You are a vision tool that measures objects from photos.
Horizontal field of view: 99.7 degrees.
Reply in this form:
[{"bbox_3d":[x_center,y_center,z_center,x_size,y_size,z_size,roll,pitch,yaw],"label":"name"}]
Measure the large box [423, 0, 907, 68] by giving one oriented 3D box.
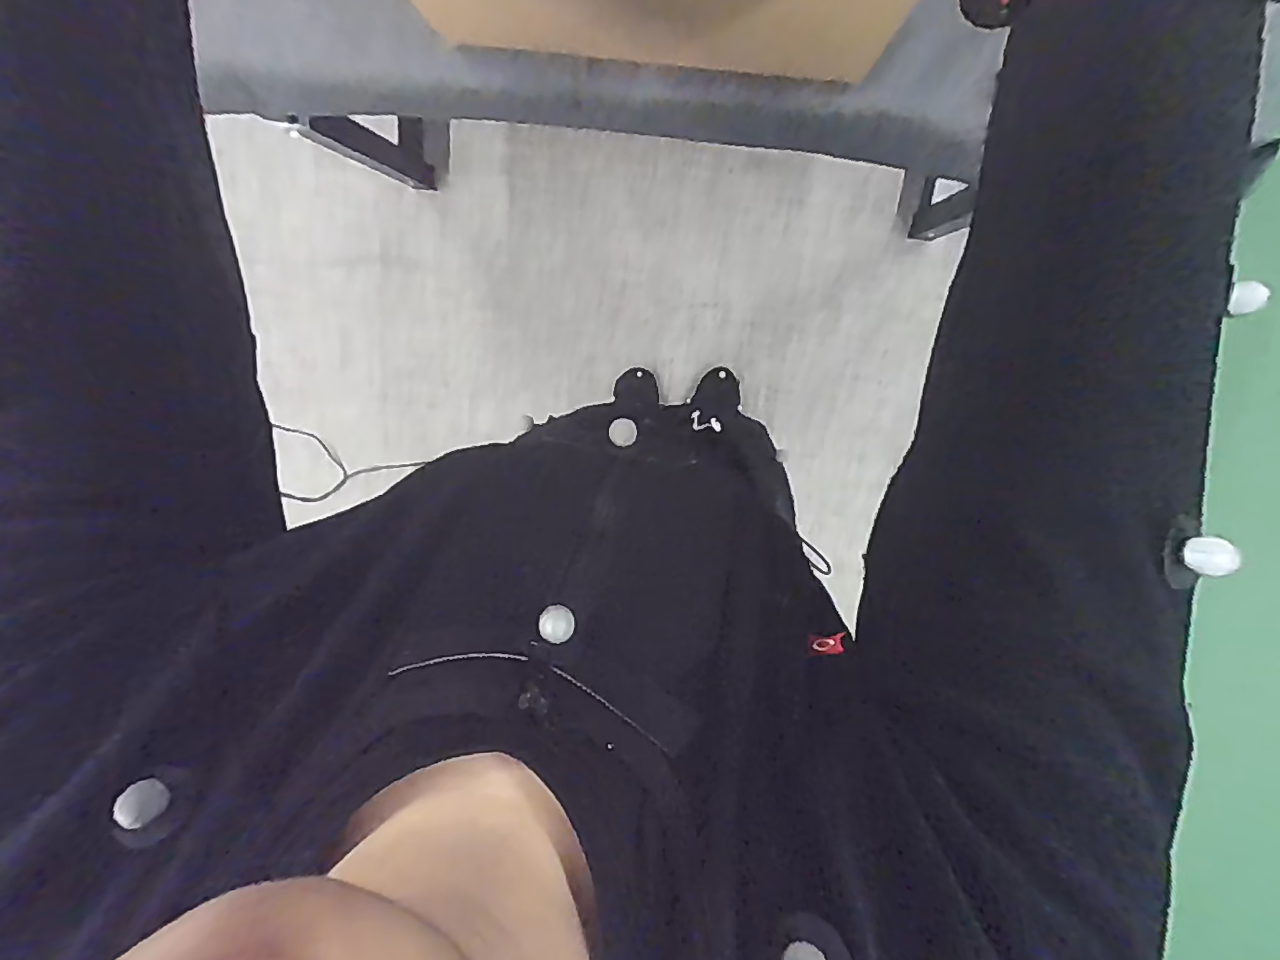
[{"bbox_3d":[0.014,-0.509,0.334,0.408,0.320,0.320,7,108,3],"label":"large box"}]
